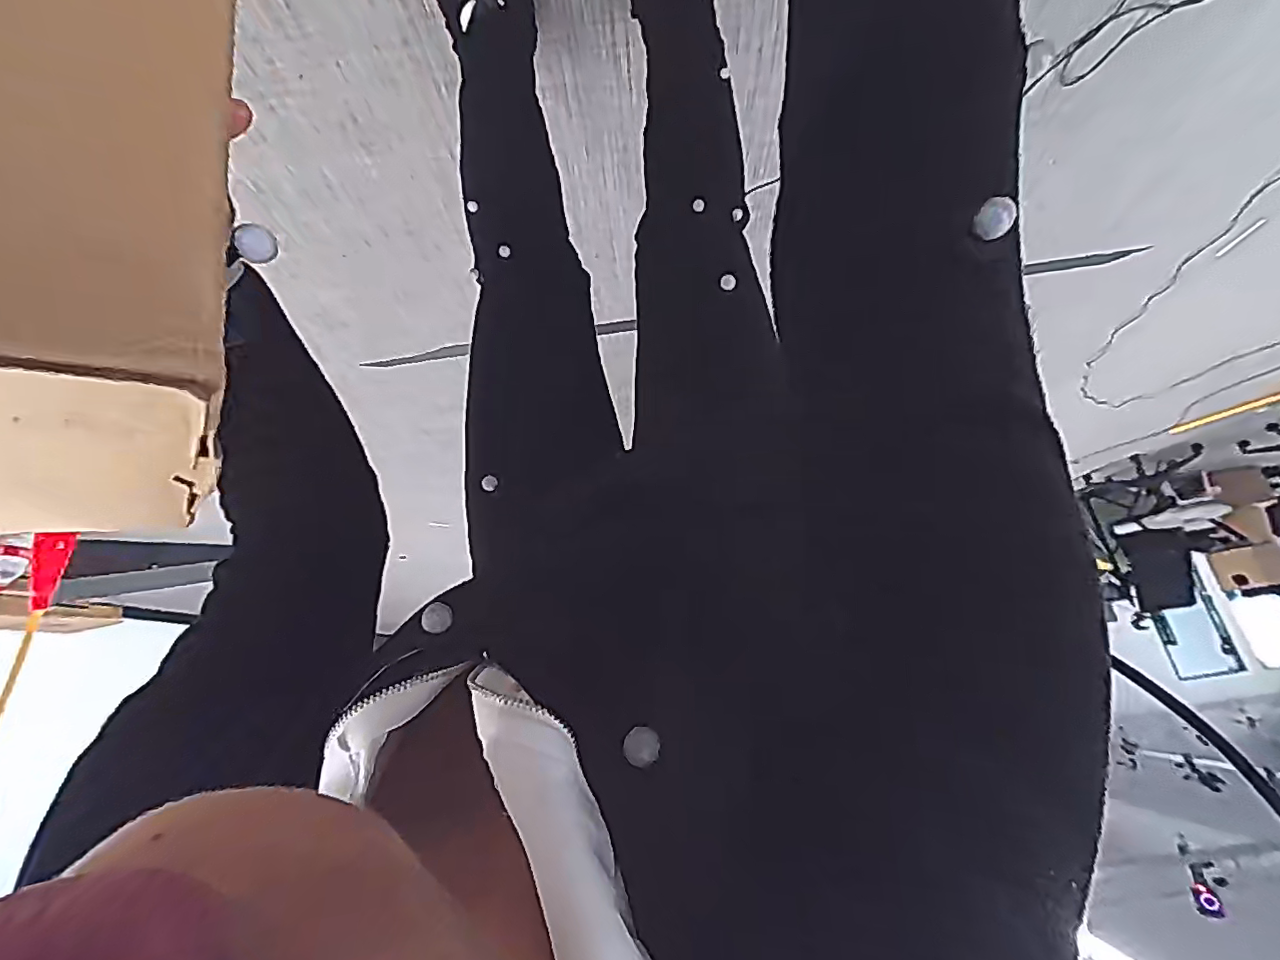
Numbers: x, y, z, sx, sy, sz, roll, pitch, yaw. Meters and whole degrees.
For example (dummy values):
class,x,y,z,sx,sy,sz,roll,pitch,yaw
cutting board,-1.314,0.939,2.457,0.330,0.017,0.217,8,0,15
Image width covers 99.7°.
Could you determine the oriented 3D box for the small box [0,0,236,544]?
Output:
class,x,y,z,sx,sy,sz,roll,pitch,yaw
small box,-0.224,-0.079,0.144,0.179,0.176,0.168,4,161,-41
